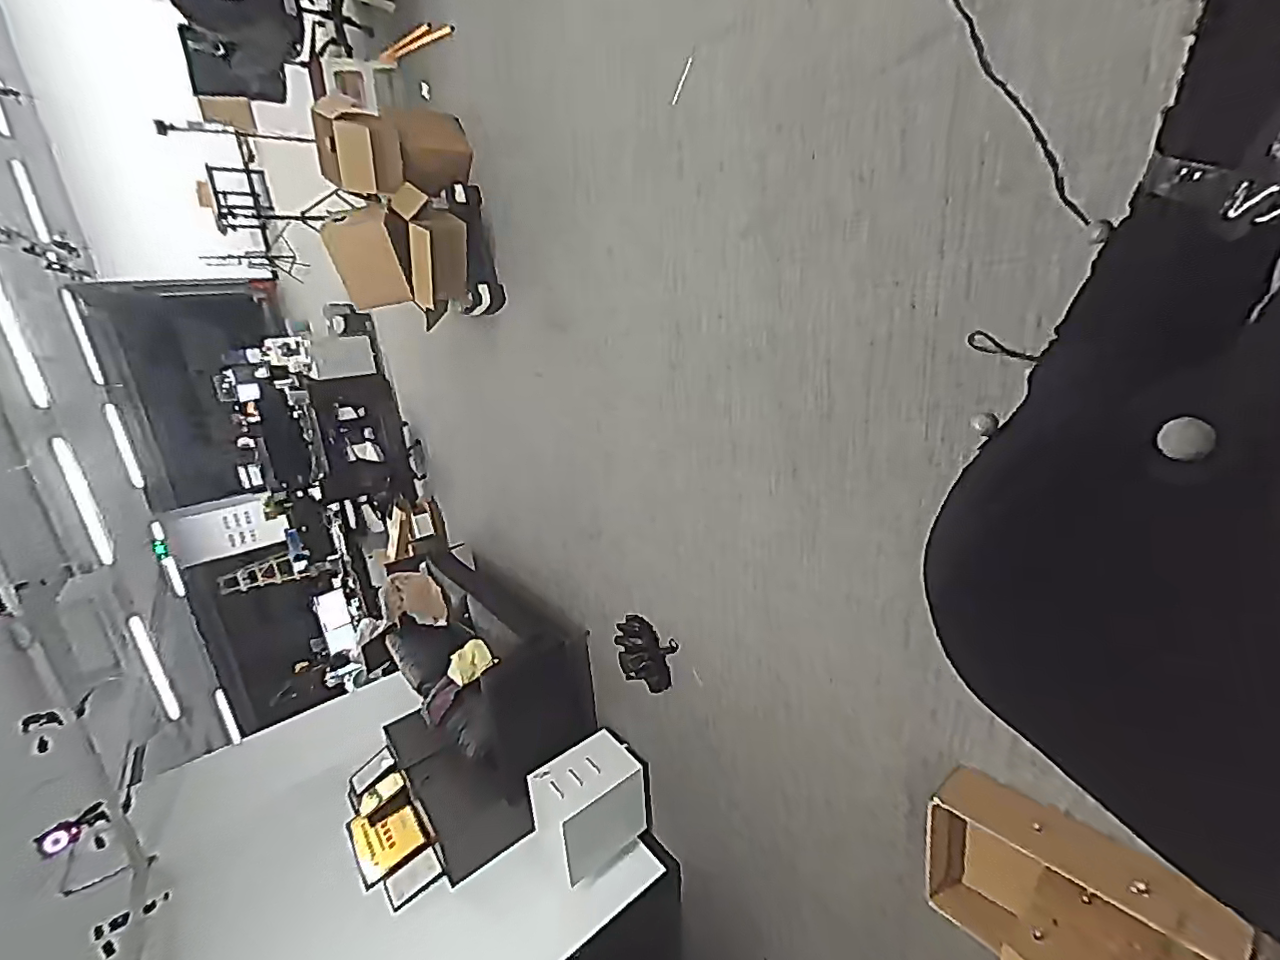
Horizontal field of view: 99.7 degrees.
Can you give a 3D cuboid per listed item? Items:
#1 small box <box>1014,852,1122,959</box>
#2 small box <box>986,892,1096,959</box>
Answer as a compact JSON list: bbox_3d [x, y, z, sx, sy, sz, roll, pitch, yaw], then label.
[{"bbox_3d":[1.060,1.078,1.346,0.179,0.176,0.168,10,114,51],"label":"small box"},{"bbox_3d":[0.933,1.128,1.261,0.168,0.176,0.179,14,118,53],"label":"small box"}]
